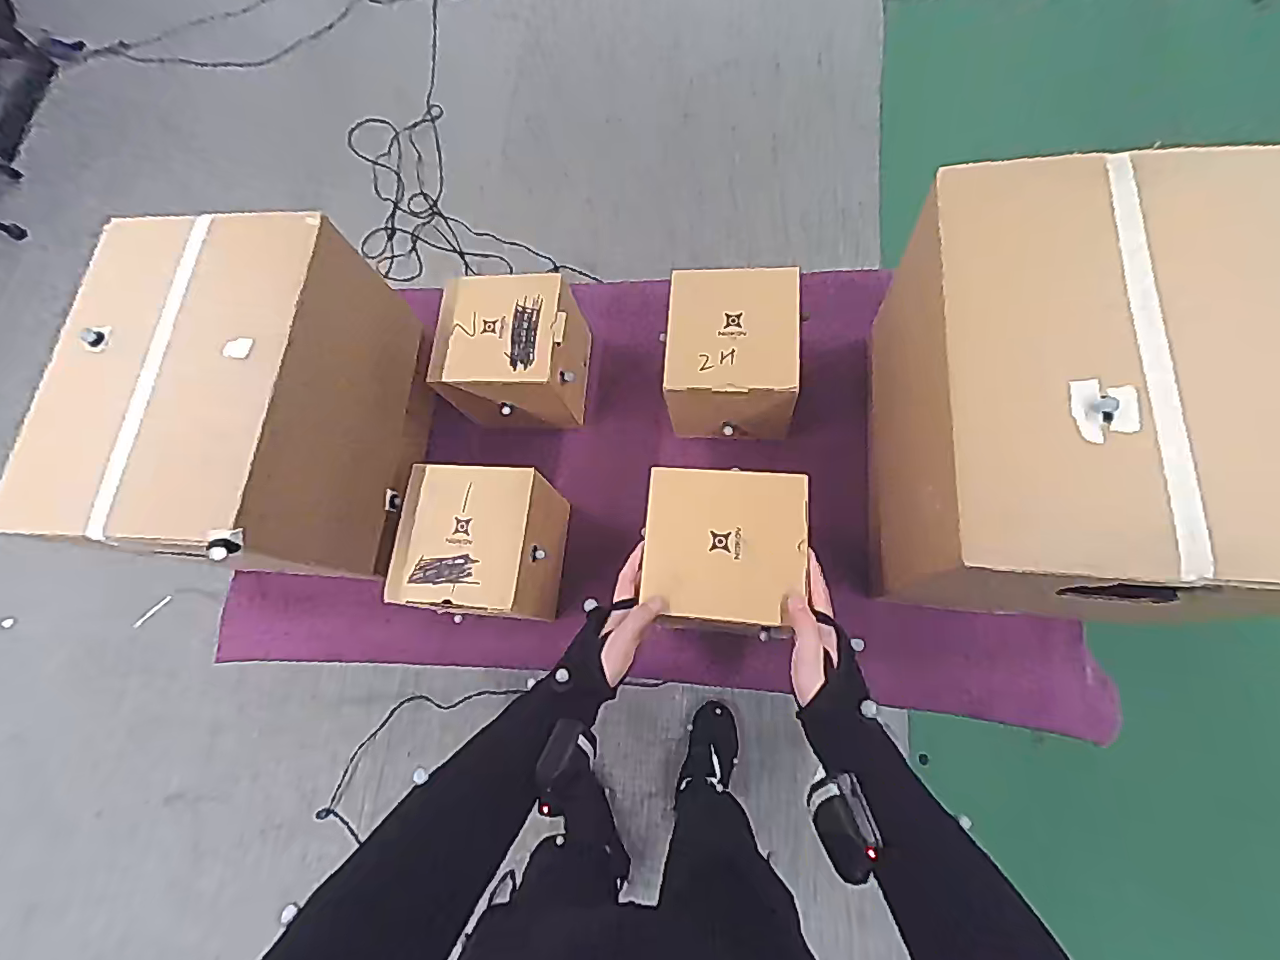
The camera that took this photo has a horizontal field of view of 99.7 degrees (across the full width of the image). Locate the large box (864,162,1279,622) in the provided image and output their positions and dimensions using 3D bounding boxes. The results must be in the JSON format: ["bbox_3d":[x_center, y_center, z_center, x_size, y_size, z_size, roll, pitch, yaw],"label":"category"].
[{"bbox_3d":[0.449,-0.065,0.599,0.320,0.320,0.408,3,74,11],"label":"large box"}]
